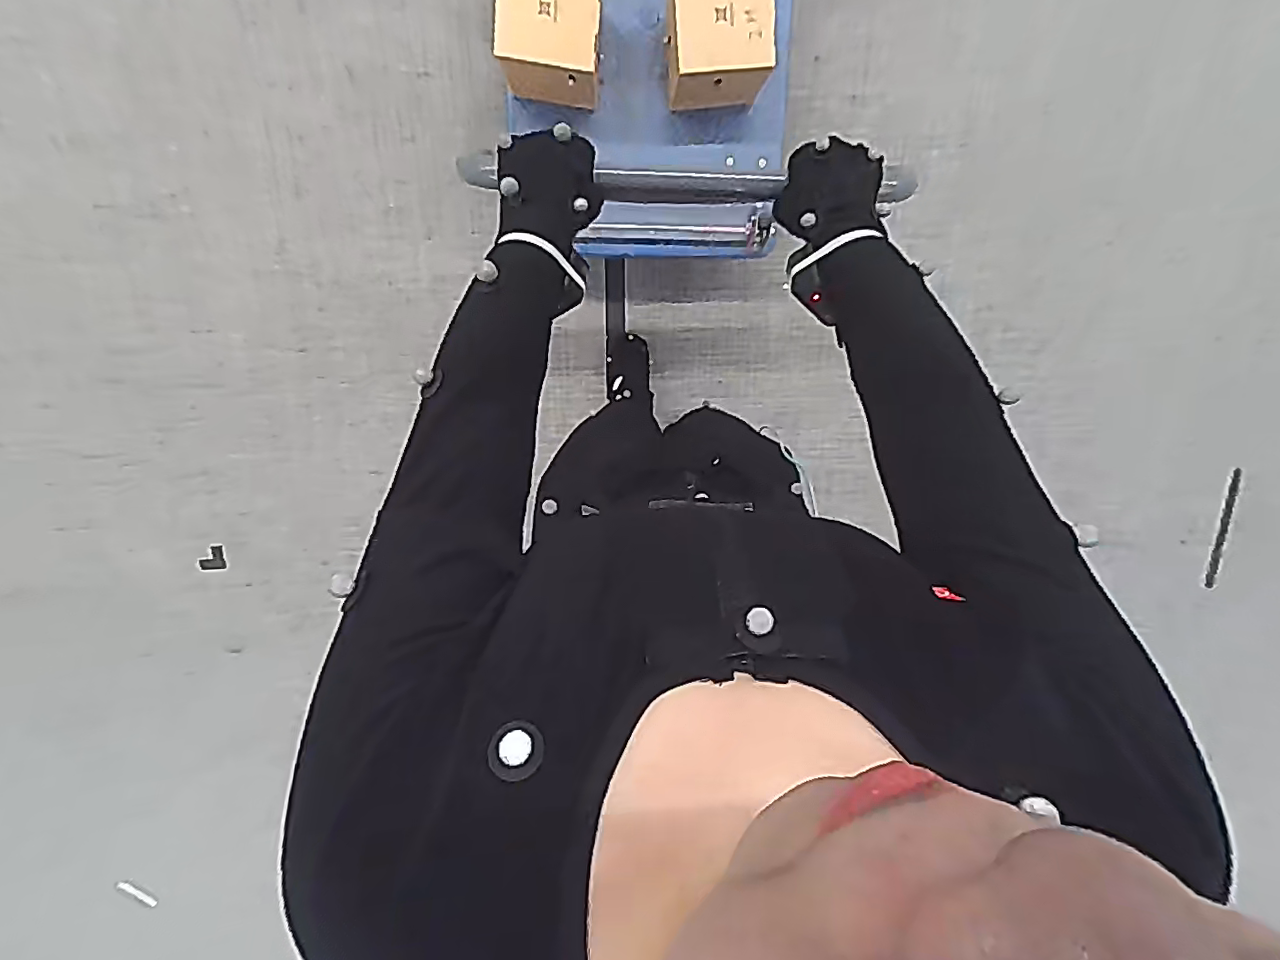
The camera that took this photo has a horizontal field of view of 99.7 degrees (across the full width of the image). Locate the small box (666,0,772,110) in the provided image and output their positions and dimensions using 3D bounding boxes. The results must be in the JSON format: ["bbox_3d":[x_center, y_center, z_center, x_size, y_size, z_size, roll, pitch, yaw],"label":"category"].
[{"bbox_3d":[0.142,-0.824,1.020,0.179,0.176,0.168,-5,106,-2],"label":"small box"}]

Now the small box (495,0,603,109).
[{"bbox_3d":[-0.163,-0.821,1.003,0.179,0.176,0.168,5,105,-6],"label":"small box"}]
